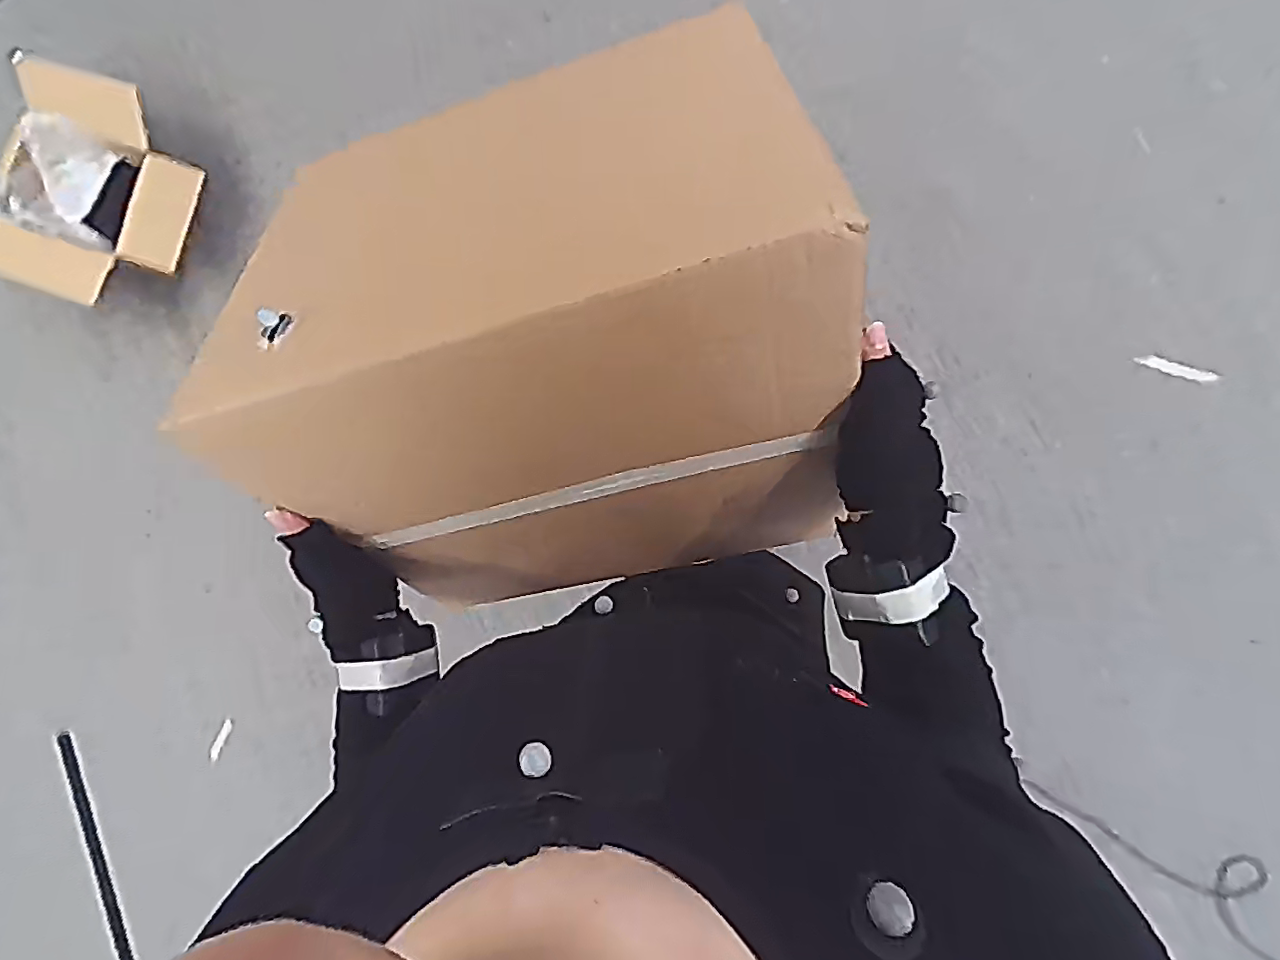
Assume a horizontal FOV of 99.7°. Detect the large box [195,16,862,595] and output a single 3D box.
[{"bbox_3d":[-0.056,-0.125,0.494,0.408,0.320,0.320,-12,55,11],"label":"large box"}]
